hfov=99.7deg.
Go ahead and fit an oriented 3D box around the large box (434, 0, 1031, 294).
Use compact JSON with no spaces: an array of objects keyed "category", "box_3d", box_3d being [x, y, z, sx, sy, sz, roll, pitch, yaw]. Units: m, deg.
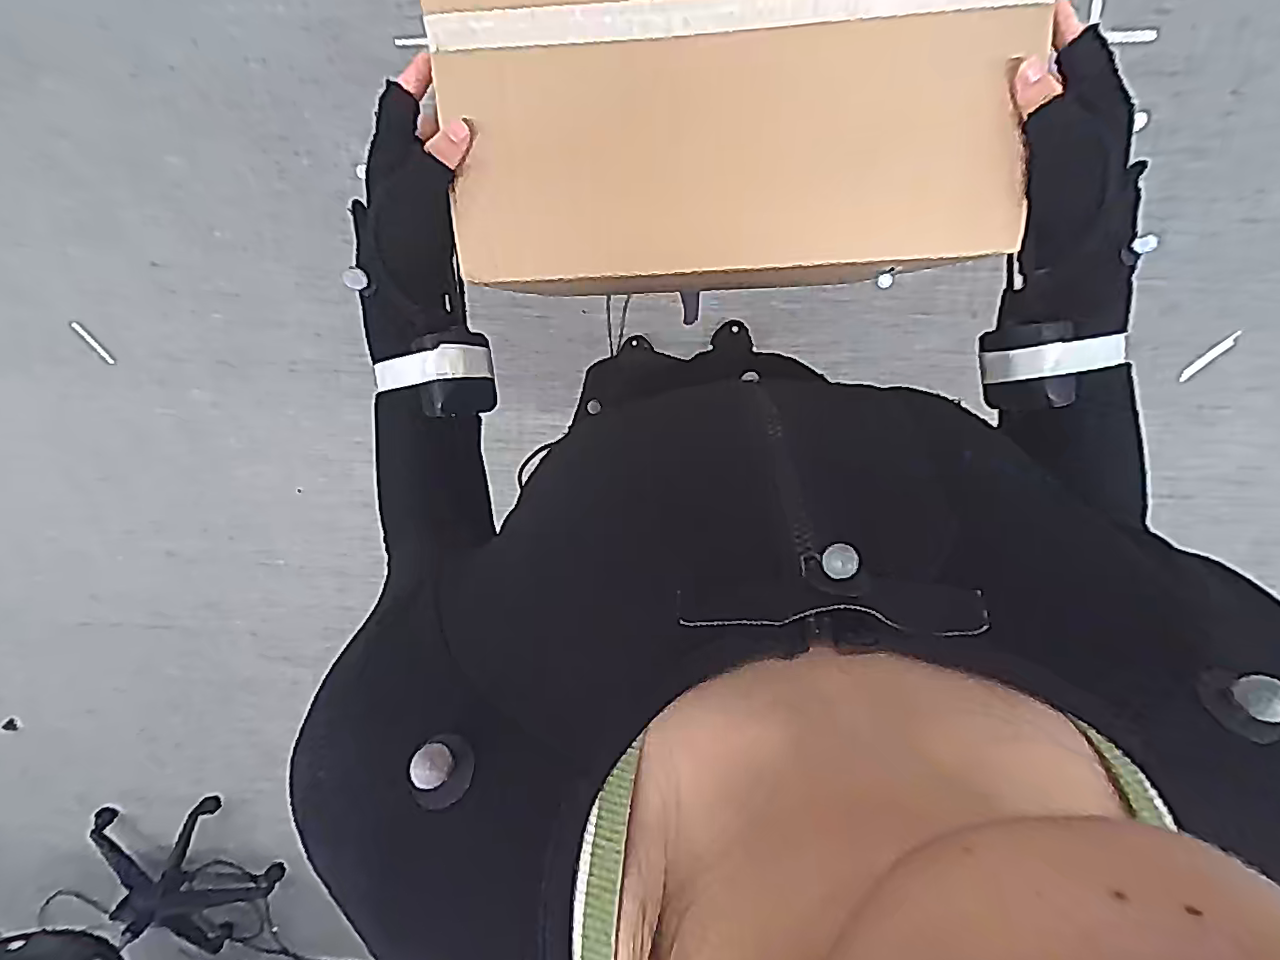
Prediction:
[{"category":"large box","box_3d":[0.064,-0.349,0.503,0.408,0.320,0.320,-3,106,1]}]
